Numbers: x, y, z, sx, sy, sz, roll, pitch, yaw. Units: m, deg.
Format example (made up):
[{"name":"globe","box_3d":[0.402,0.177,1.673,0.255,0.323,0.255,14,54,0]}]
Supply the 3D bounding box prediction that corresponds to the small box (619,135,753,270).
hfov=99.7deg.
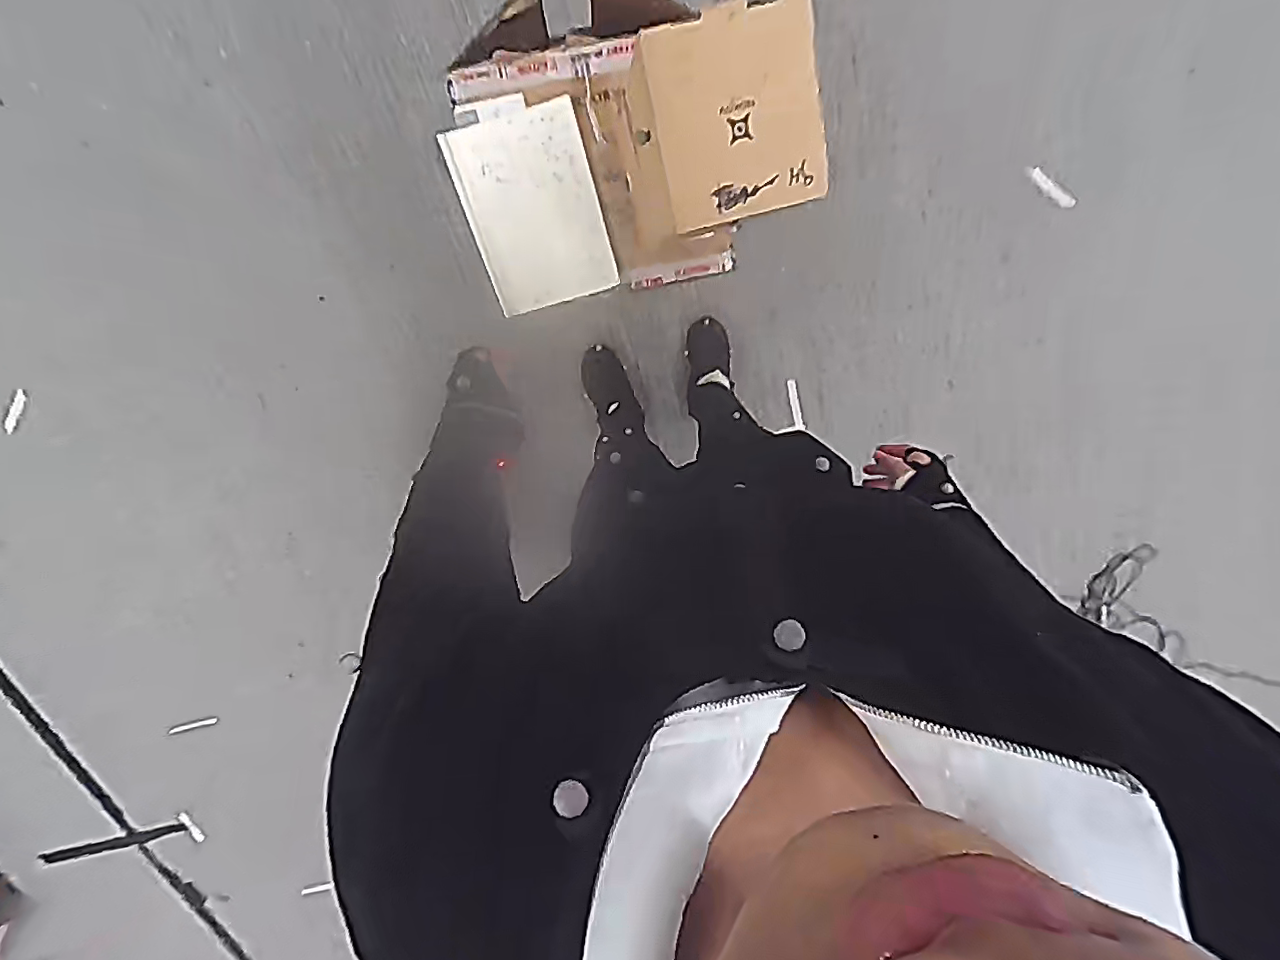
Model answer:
[{"name":"small box","box_3d":[0.077,-0.410,0.776,0.179,0.176,0.168,-17,111,1]}]

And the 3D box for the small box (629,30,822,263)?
[{"name":"small box","box_3d":[0.088,-0.360,0.620,0.168,0.176,0.179,-15,111,-1]}]
